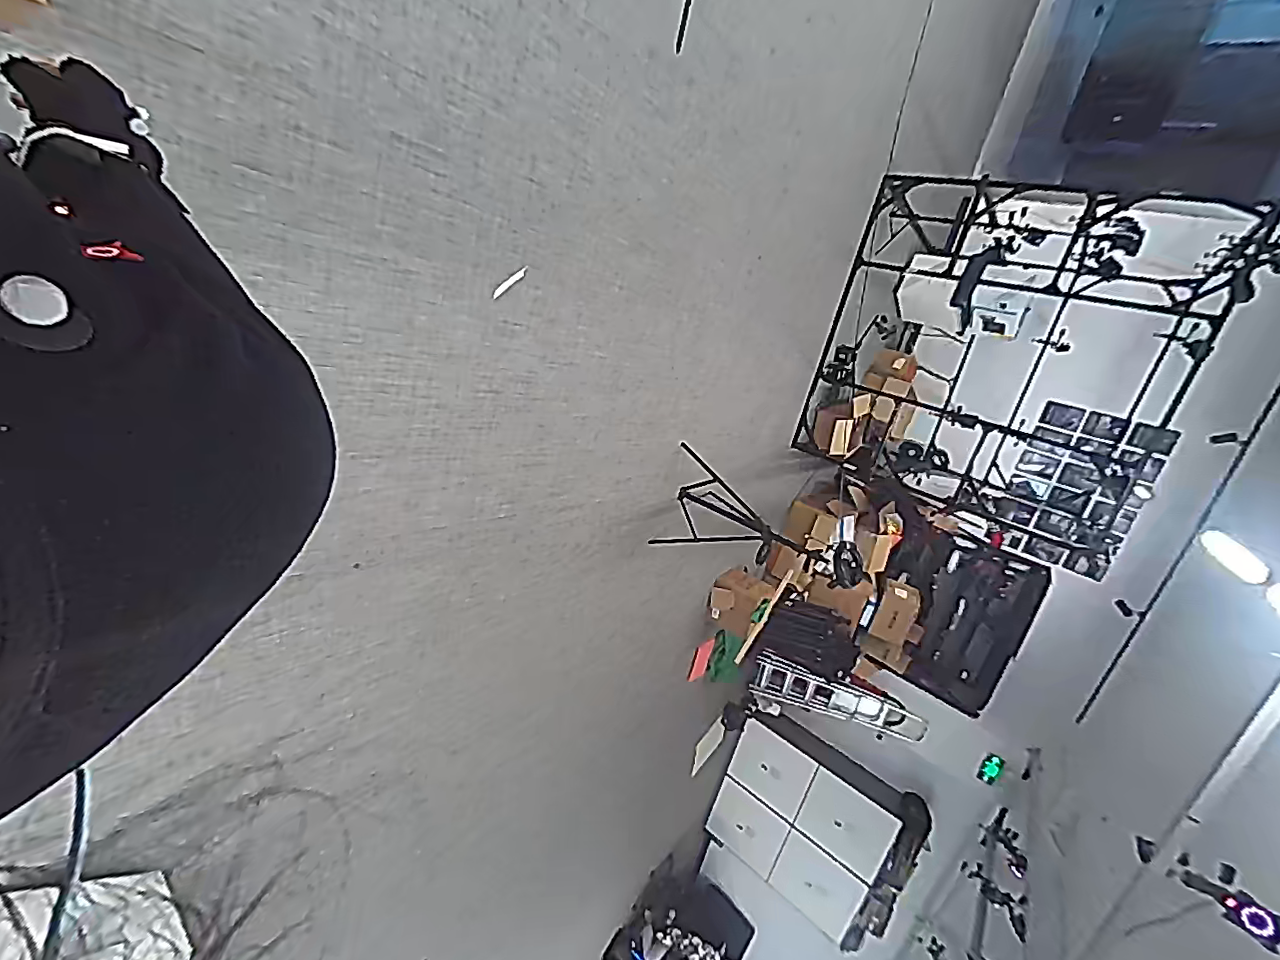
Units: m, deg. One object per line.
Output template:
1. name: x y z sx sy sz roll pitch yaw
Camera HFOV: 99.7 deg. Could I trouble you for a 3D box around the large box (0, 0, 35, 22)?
1. large box: -1.000 -0.785 0.587 0.408 0.320 0.320 -17 125 -50
